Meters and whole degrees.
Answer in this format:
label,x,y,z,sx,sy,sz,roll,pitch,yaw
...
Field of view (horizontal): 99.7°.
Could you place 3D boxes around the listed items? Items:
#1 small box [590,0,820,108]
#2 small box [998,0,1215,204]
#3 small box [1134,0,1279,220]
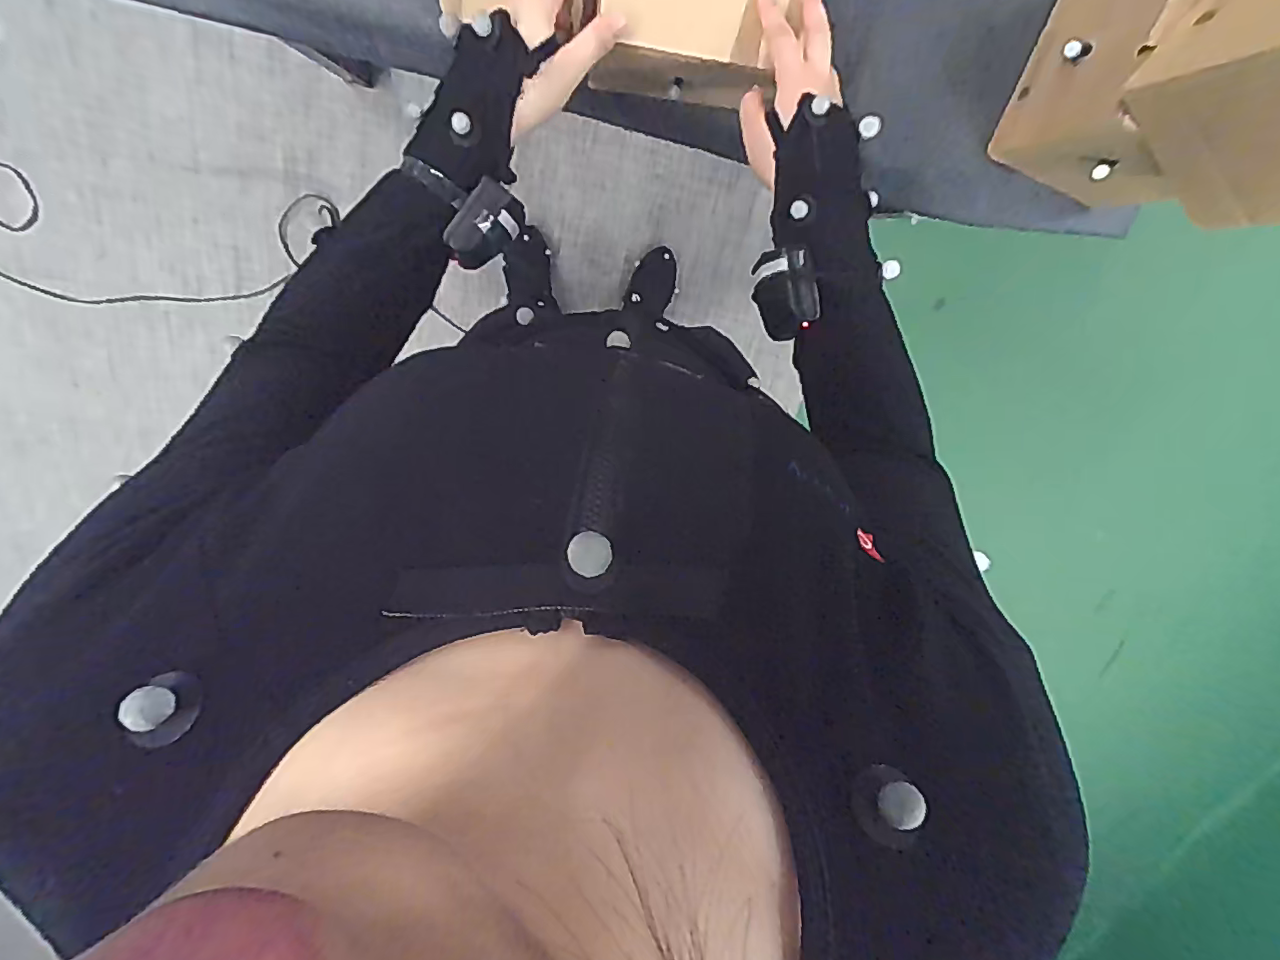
label,x,y,z,sx,sy,sz,roll,pitch,yaw
small box,0.050,-0.440,0.470,0.179,0.176,0.168,3,116,-6
small box,0.522,-0.399,0.551,0.179,0.176,0.168,15,110,-13
small box,0.544,-0.320,0.409,0.179,0.176,0.168,35,103,-21
